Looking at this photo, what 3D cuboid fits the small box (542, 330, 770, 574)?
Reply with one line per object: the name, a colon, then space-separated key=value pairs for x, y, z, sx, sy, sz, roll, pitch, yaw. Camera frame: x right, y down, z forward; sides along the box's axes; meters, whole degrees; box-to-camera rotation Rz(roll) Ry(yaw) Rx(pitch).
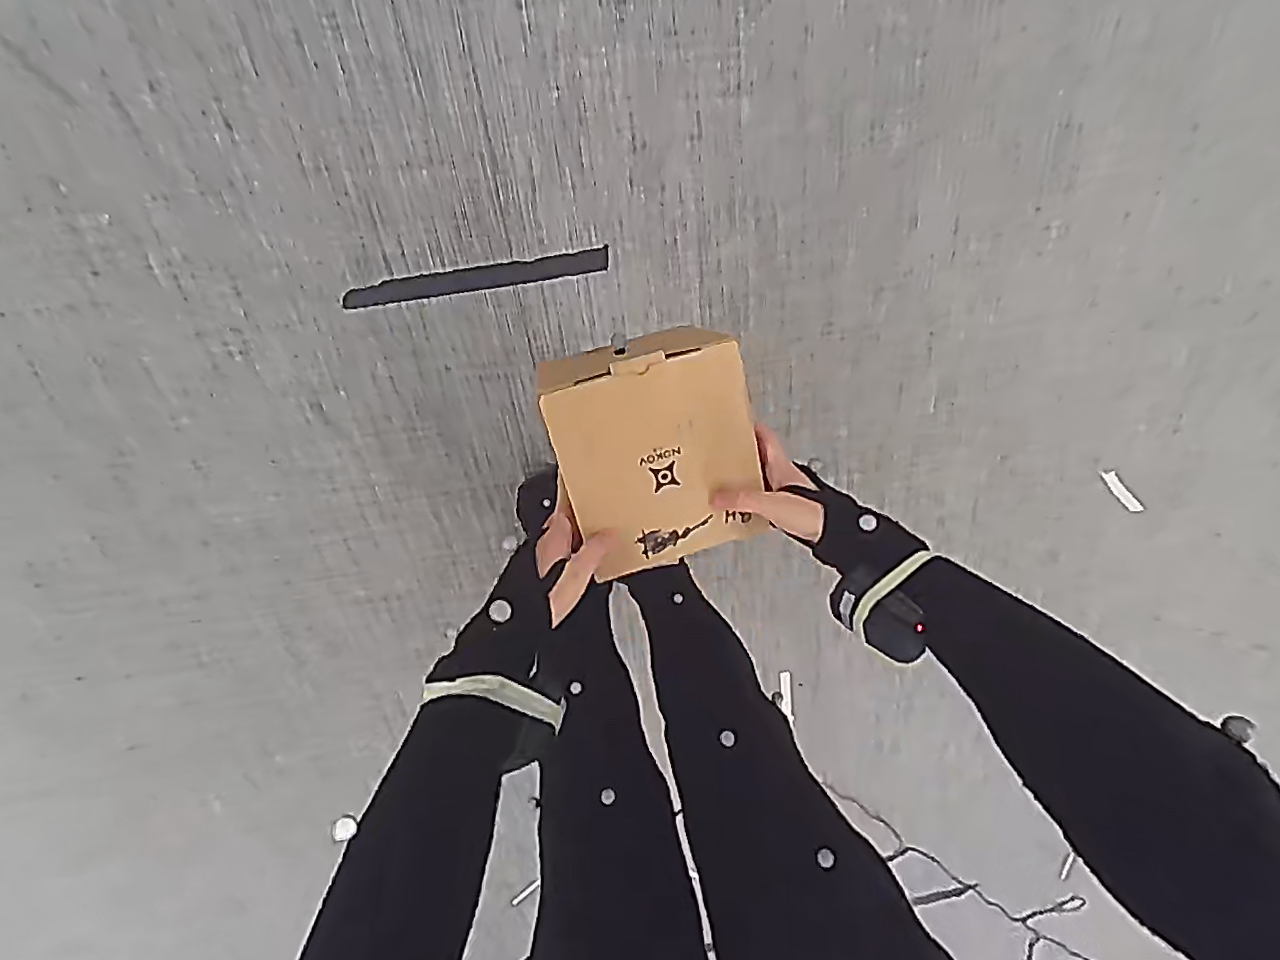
small box: x=0.006 y=-0.041 z=0.526 sx=0.168 sy=0.176 sz=0.179 roll=-17 pitch=110 yaw=-6
